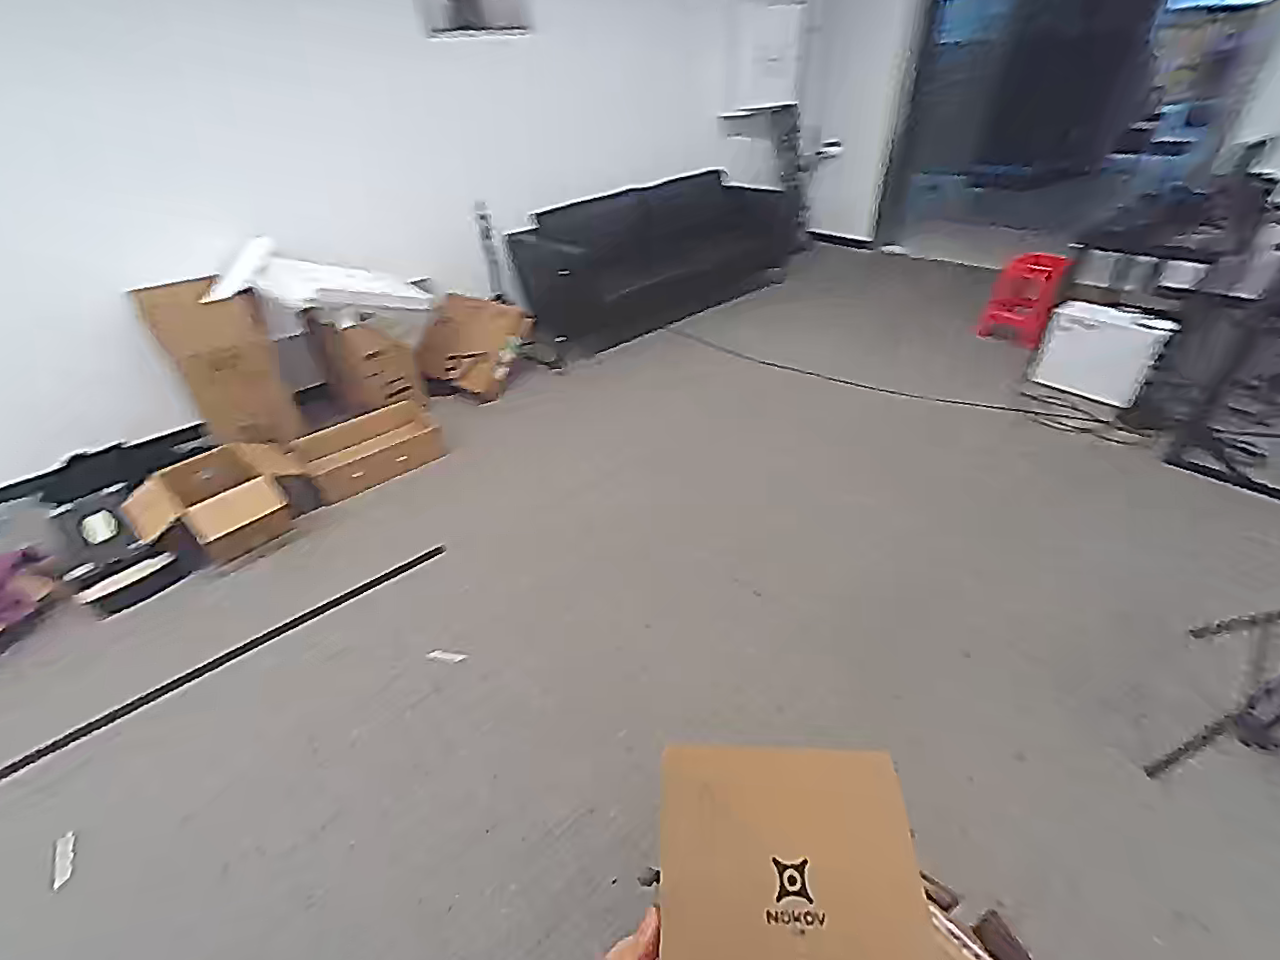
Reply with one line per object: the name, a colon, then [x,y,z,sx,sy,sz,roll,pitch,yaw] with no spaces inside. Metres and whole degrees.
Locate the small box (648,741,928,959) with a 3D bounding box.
small box: [0.090,0.311,0.399,0.168,0.176,0.179,0,49,2]
